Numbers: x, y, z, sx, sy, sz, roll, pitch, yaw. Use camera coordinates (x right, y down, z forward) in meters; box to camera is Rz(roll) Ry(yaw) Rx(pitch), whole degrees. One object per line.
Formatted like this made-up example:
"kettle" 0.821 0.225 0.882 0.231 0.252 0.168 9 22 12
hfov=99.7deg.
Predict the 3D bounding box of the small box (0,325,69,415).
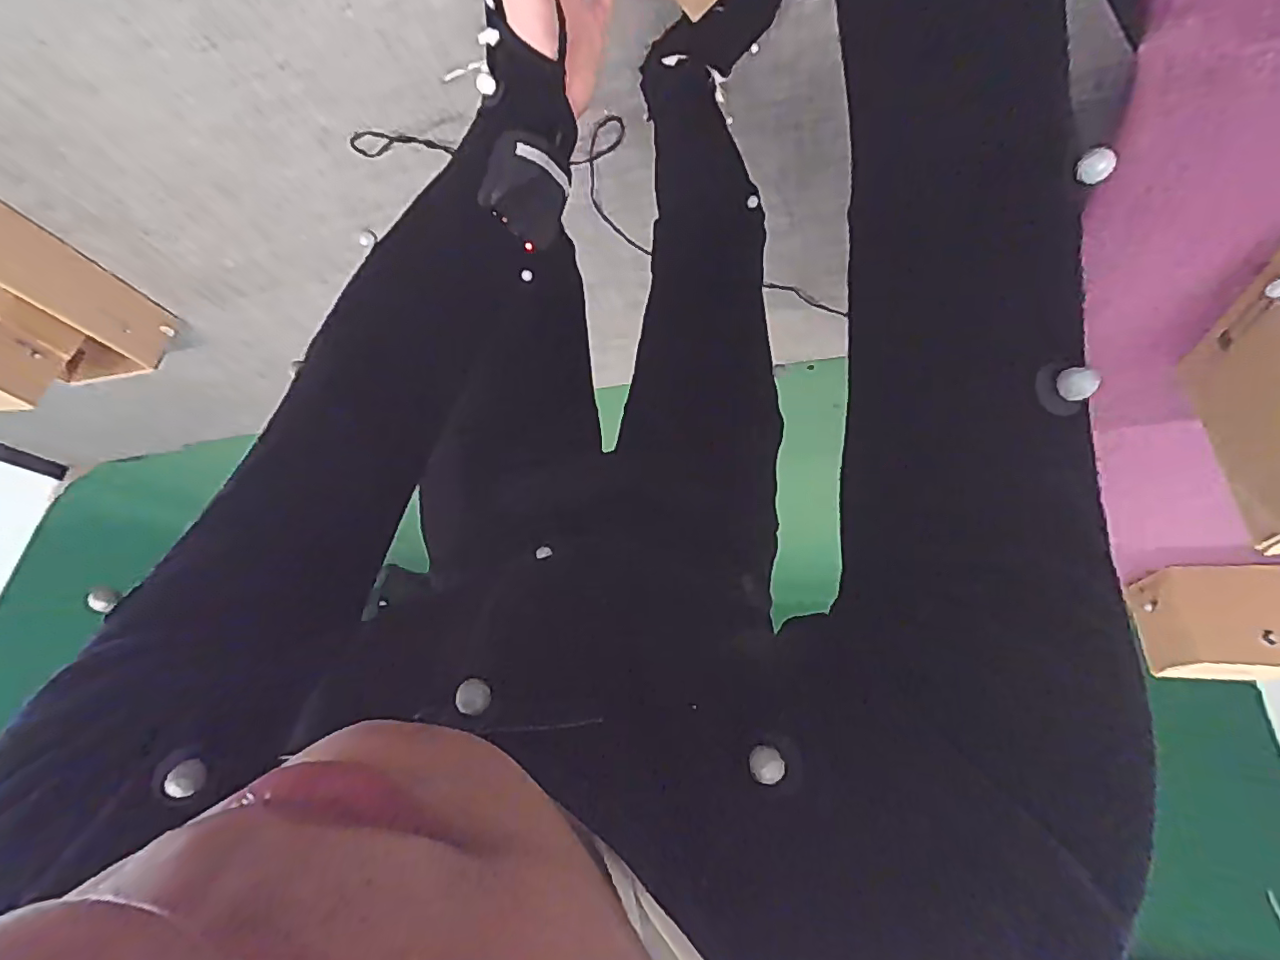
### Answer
"small box" -1.673 -0.285 1.407 0.179 0.176 0.168 -1 152 9

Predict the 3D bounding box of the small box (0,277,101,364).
"small box" -1.657 -0.429 1.481 0.179 0.176 0.168 -3 151 12

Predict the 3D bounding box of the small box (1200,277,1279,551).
"small box" 0.510 -0.065 0.327 0.179 0.176 0.168 -7 154 19

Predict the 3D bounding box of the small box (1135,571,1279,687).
"small box" 1.032 0.261 0.947 0.179 0.176 0.168 -3 152 17
